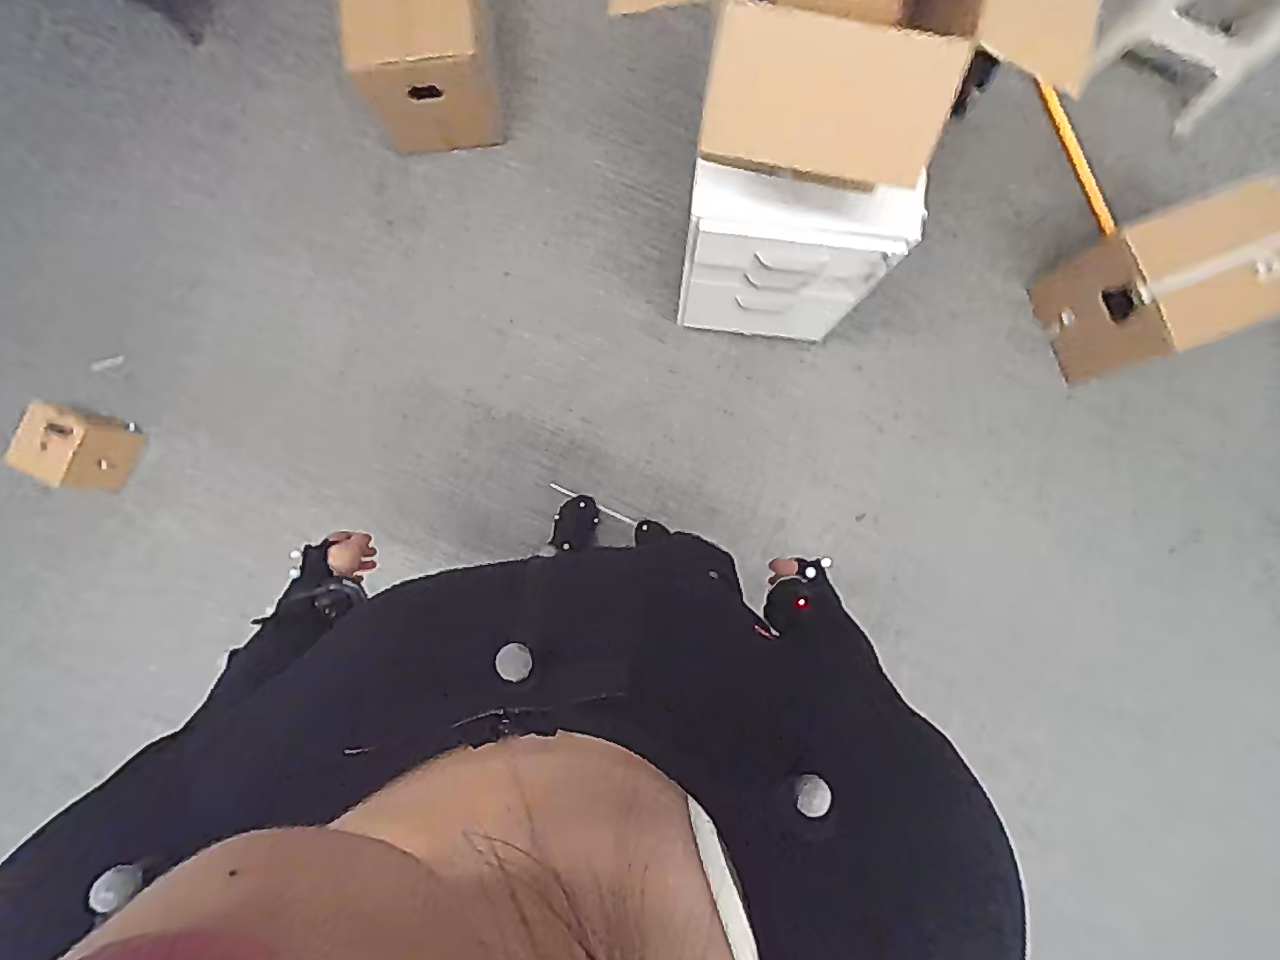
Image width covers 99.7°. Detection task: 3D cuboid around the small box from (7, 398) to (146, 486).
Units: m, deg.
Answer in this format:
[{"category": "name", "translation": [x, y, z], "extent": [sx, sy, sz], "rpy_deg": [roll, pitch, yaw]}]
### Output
[{"category": "small box", "translation": [-1.505, -0.096, 1.461], "extent": [0.168, 0.176, 0.179], "rpy_deg": [26, 87, 2]}]
